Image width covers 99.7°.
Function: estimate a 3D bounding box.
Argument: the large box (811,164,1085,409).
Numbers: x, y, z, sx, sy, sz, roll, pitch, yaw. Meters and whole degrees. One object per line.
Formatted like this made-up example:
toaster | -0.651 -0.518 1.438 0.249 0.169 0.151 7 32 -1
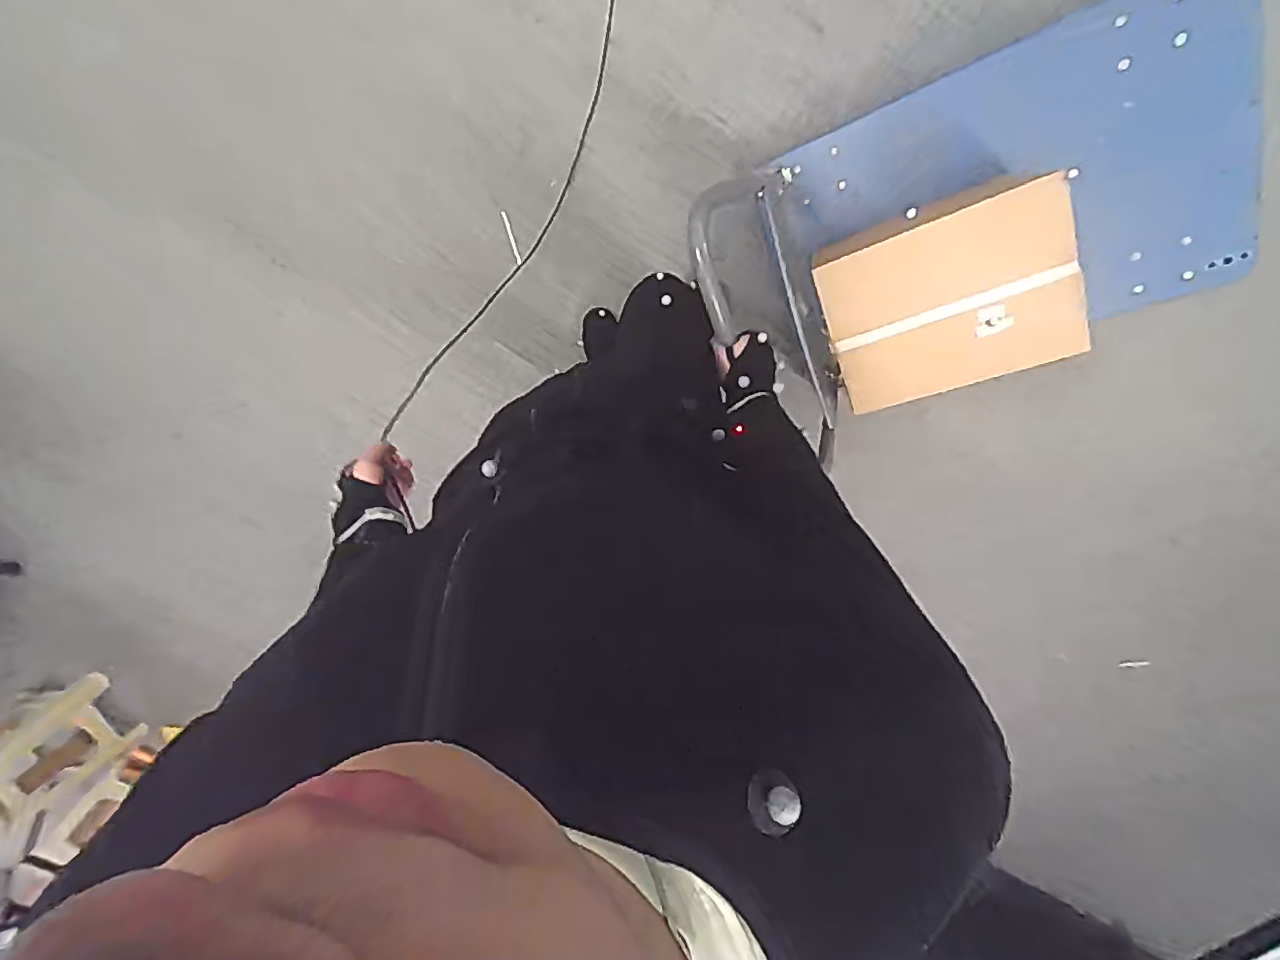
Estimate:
large box | 0.593 -0.389 1.111 0.408 0.320 0.320 -14 113 24
